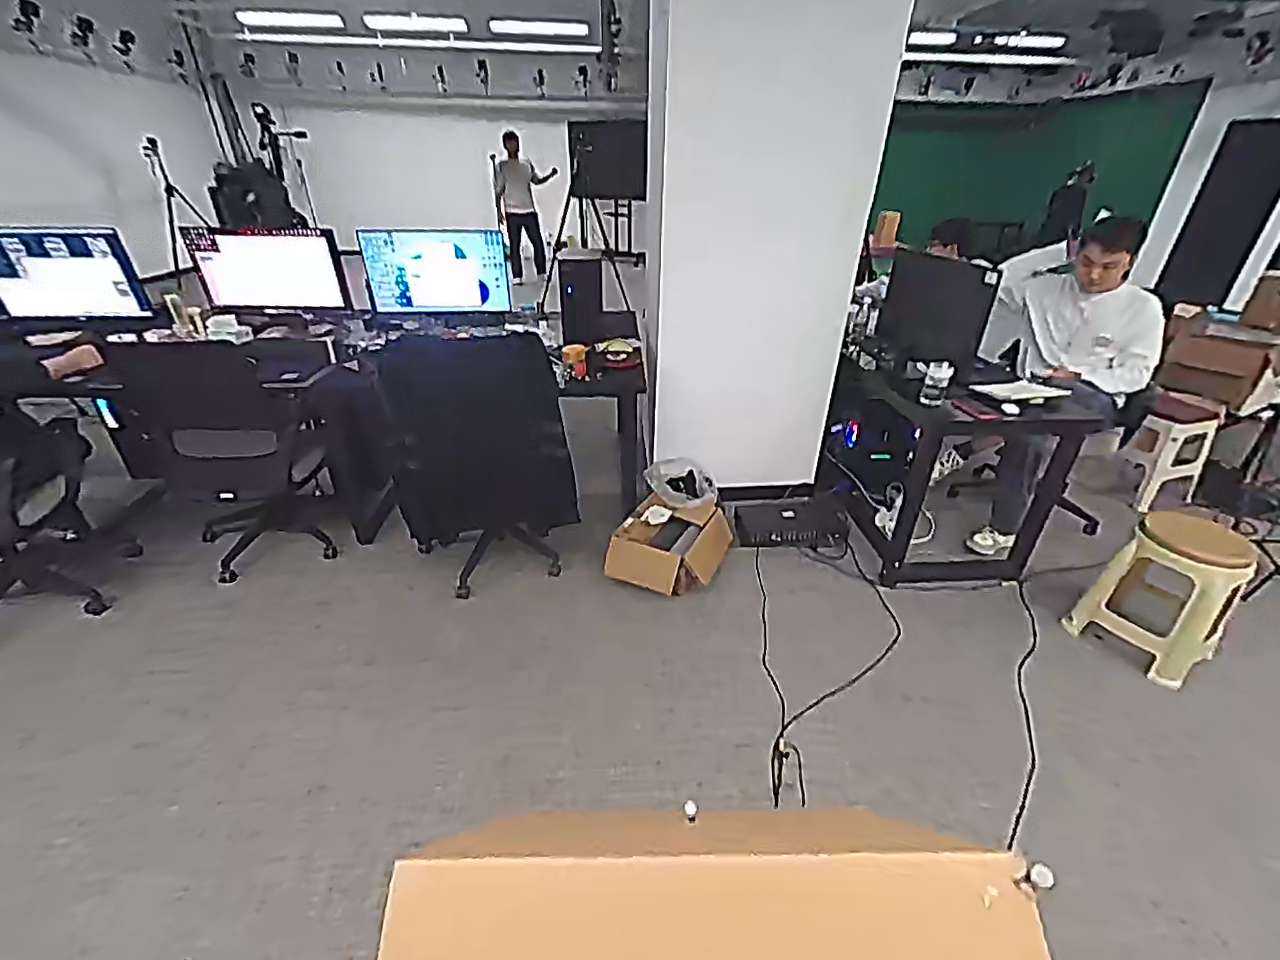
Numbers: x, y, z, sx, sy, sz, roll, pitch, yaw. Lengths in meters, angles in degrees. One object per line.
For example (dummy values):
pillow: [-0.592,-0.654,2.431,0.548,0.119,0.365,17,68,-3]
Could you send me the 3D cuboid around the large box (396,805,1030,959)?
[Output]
large box: [0.049,0.455,0.428,0.408,0.320,0.320,-2,65,1]
